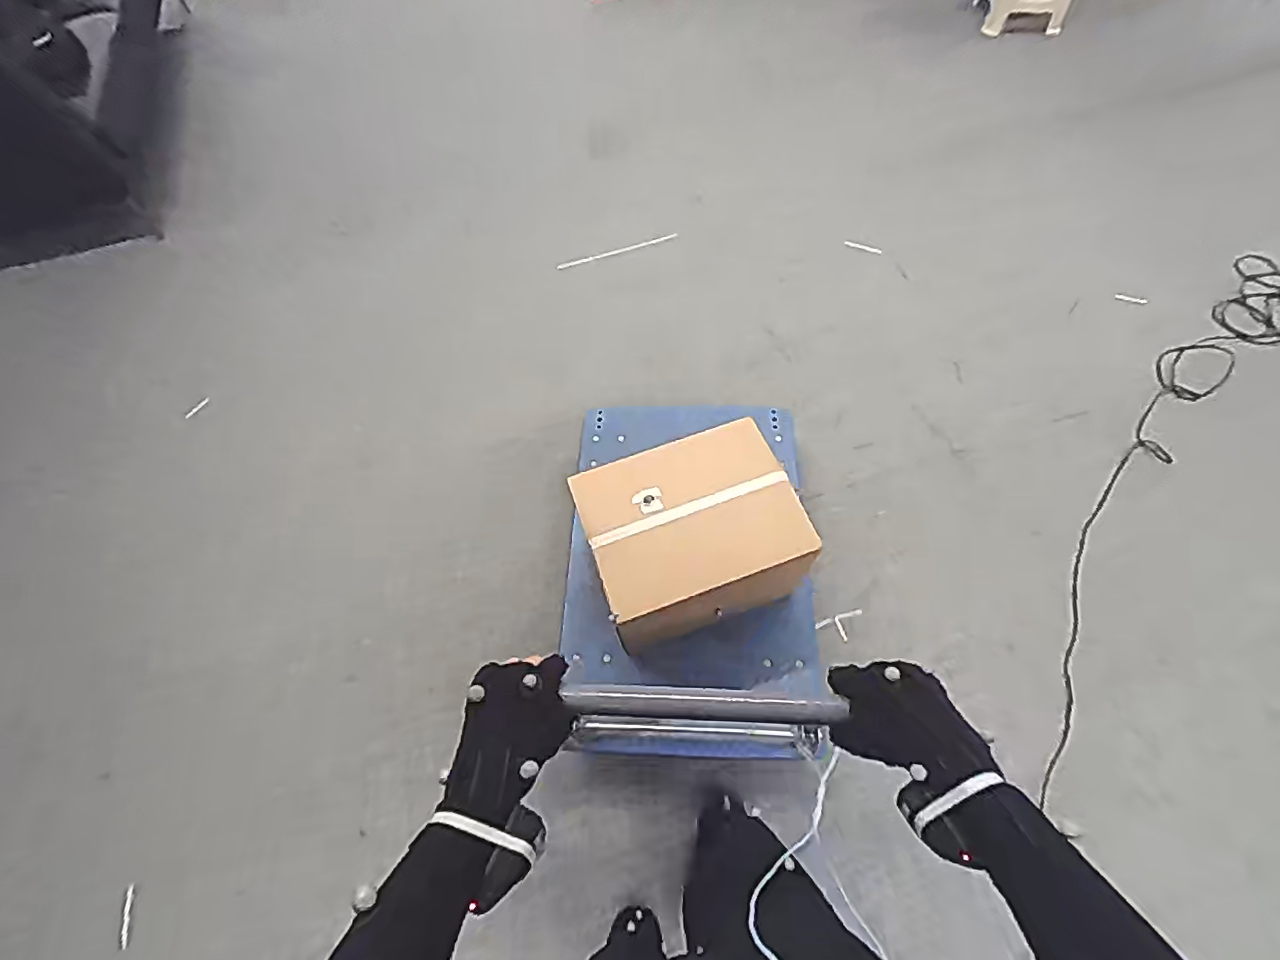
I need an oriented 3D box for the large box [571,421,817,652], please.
[{"bbox_3d":[0.108,0.134,1.181,0.408,0.320,0.320,-20,62,-6],"label":"large box"}]
